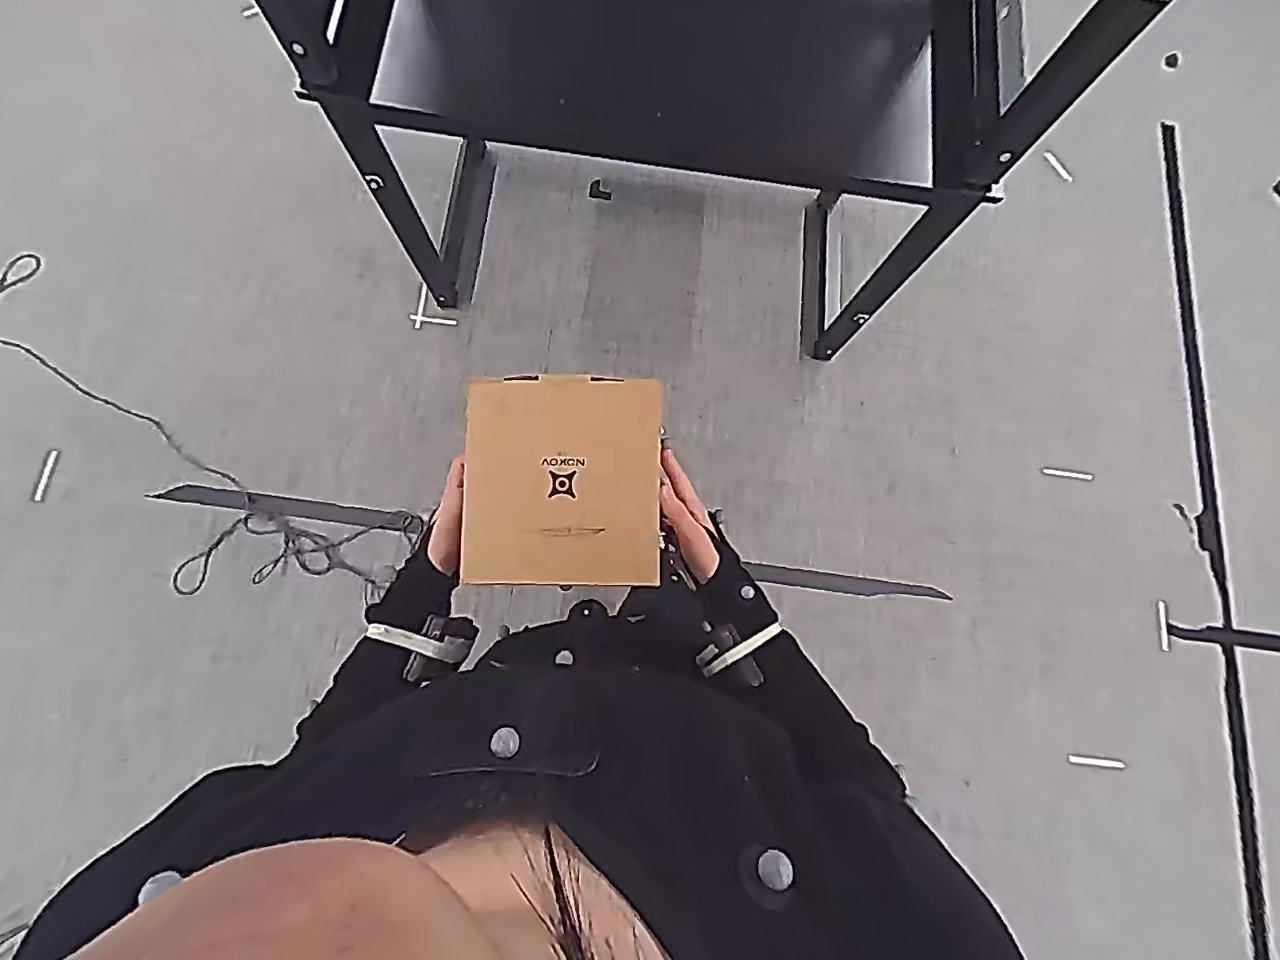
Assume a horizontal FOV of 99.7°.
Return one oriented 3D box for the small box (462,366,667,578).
[{"bbox_3d":[-0.062,0.000,0.526,0.168,0.176,0.179,1,85,0],"label":"small box"}]
